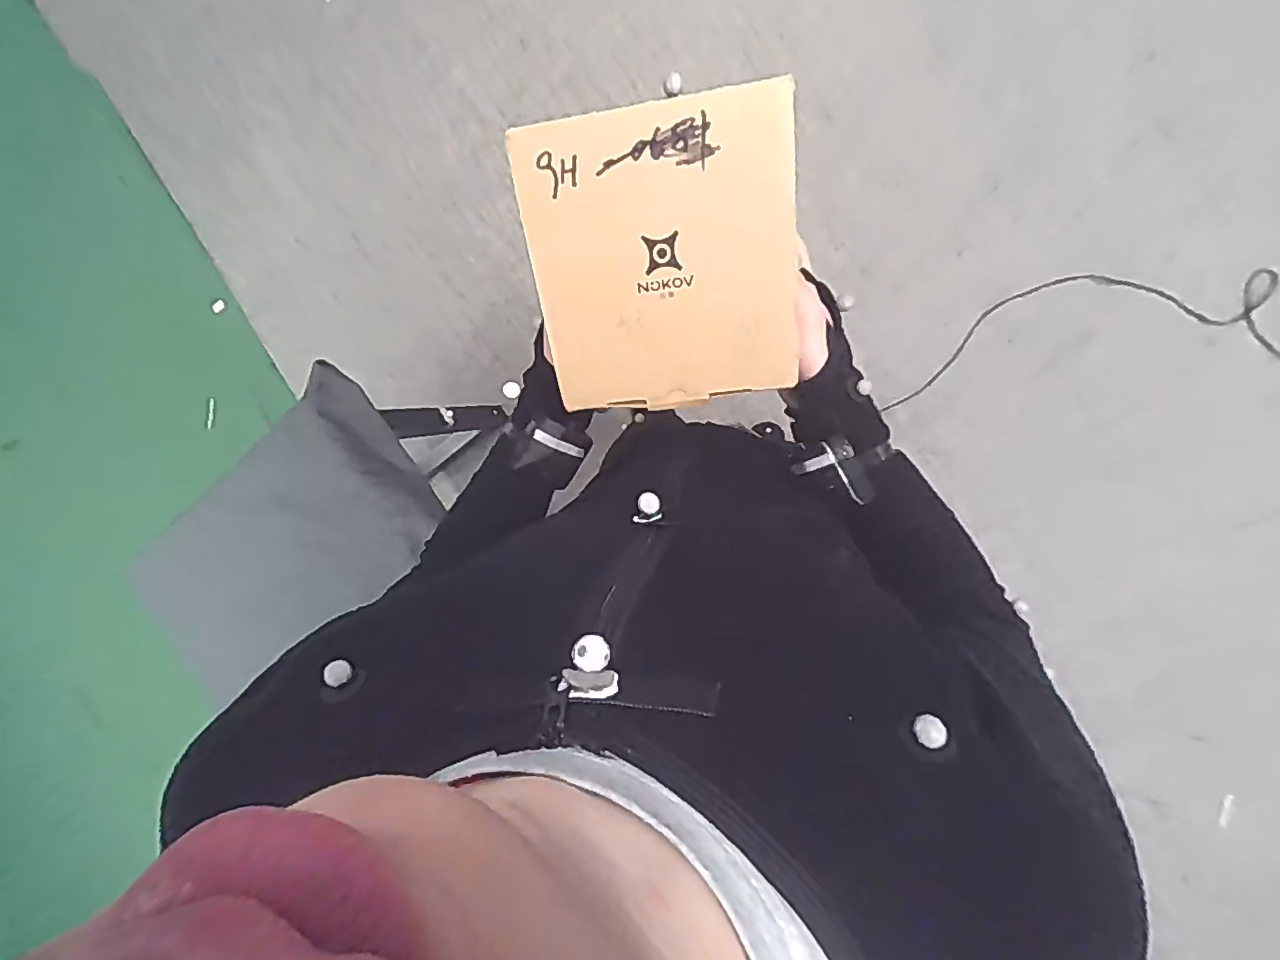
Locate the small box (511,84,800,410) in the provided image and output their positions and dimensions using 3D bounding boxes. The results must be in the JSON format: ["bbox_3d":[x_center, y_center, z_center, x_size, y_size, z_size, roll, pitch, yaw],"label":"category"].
[{"bbox_3d":[0.024,-0.170,0.409,0.168,0.176,0.179,-5,117,8],"label":"small box"}]
